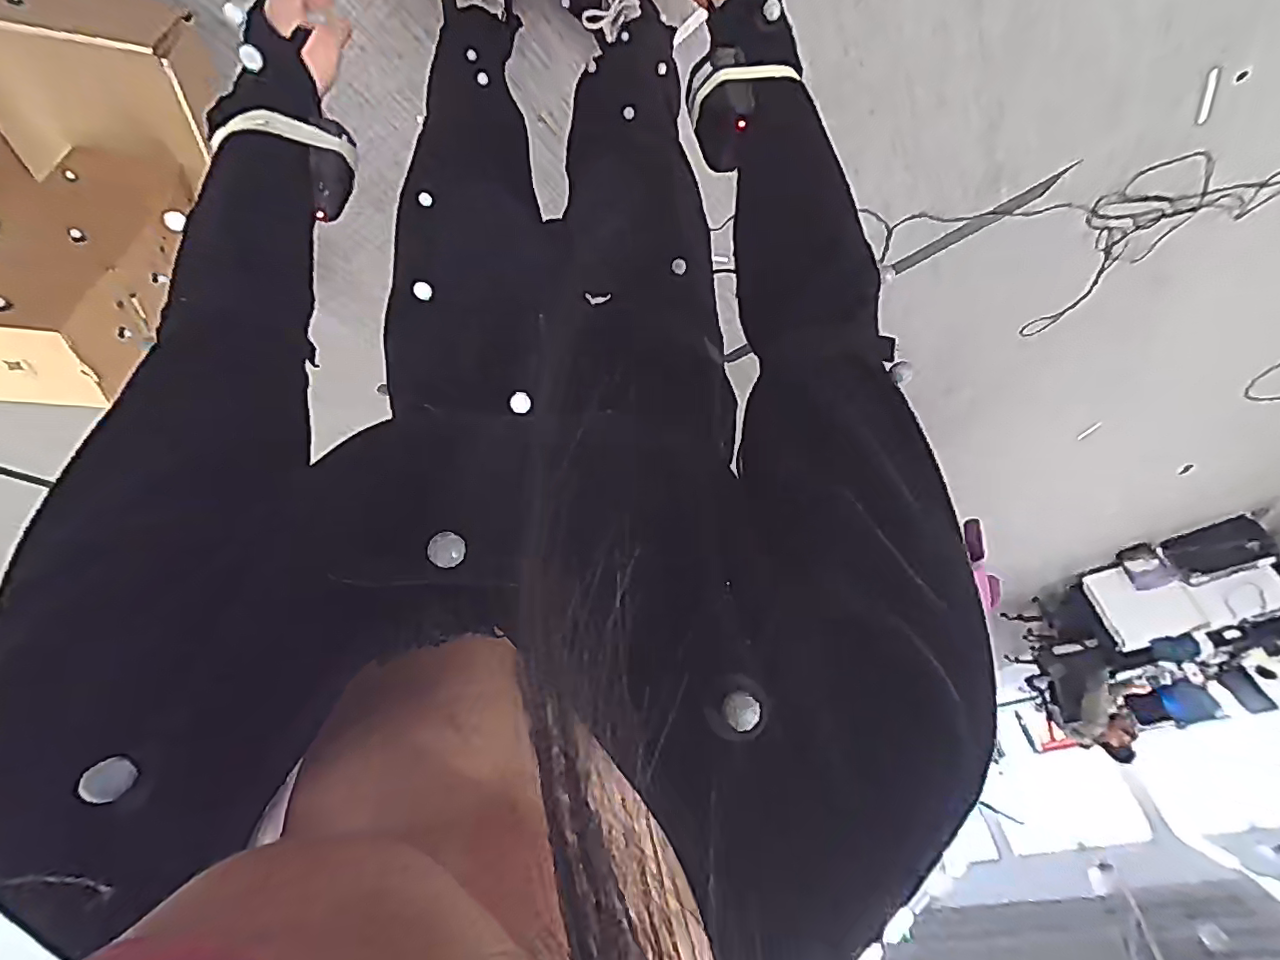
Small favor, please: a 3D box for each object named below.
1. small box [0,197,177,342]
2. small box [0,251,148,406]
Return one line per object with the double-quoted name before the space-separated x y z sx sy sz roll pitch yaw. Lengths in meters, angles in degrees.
"small box" -0.968 -0.371 0.960 0.179 0.176 0.168 3 144 -18
"small box" -0.951 -0.241 0.863 0.179 0.176 0.168 2 144 -17
